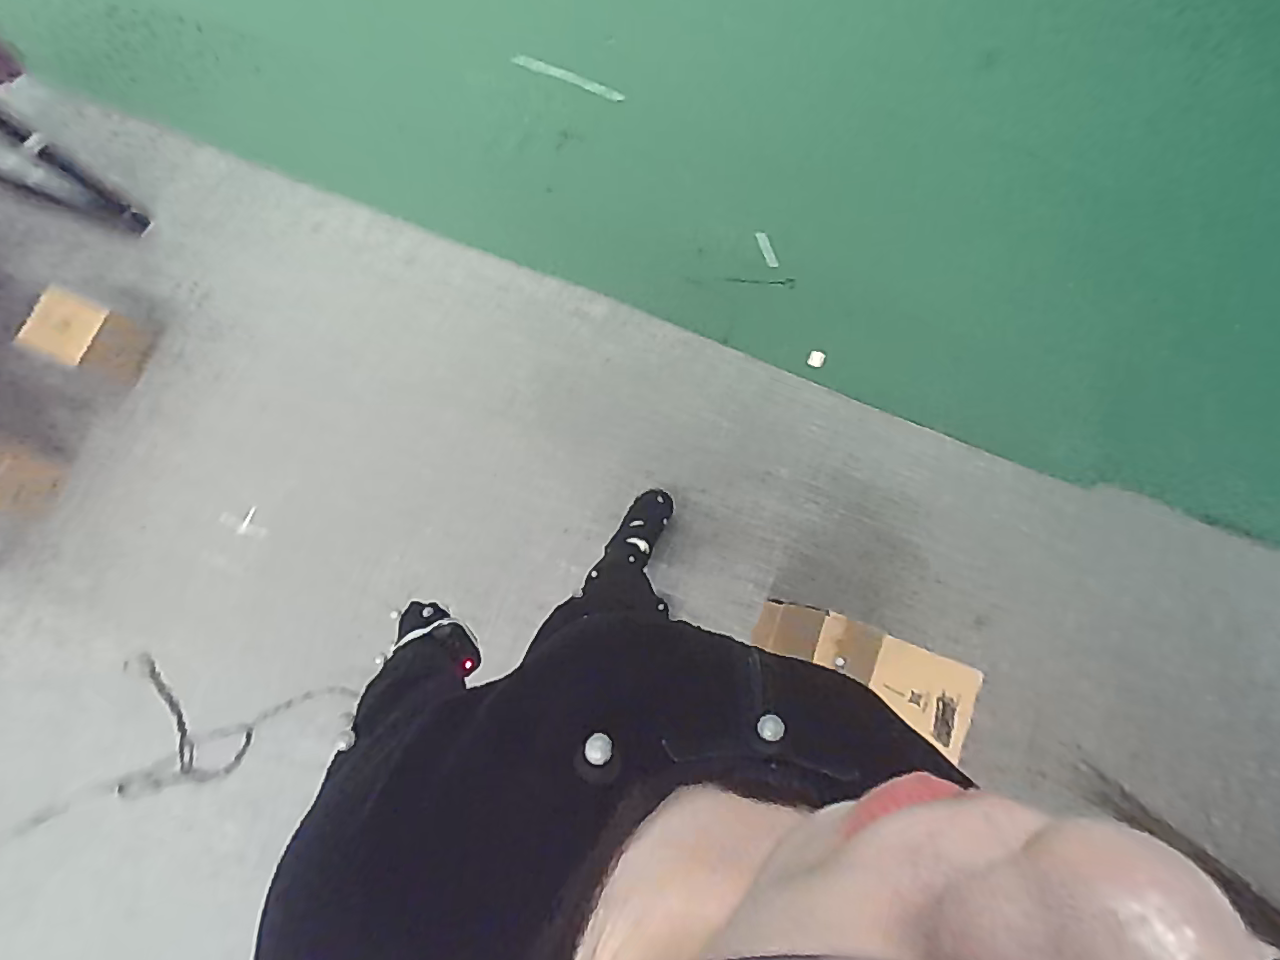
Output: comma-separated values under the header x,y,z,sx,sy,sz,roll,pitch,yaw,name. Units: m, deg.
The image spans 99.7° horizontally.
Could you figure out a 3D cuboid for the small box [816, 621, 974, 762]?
x,y,z,sx,sy,sz,roll,pitch,yaw,name
0.450,0.369,0.980,0.179,0.176,0.168,22,83,3,small box
